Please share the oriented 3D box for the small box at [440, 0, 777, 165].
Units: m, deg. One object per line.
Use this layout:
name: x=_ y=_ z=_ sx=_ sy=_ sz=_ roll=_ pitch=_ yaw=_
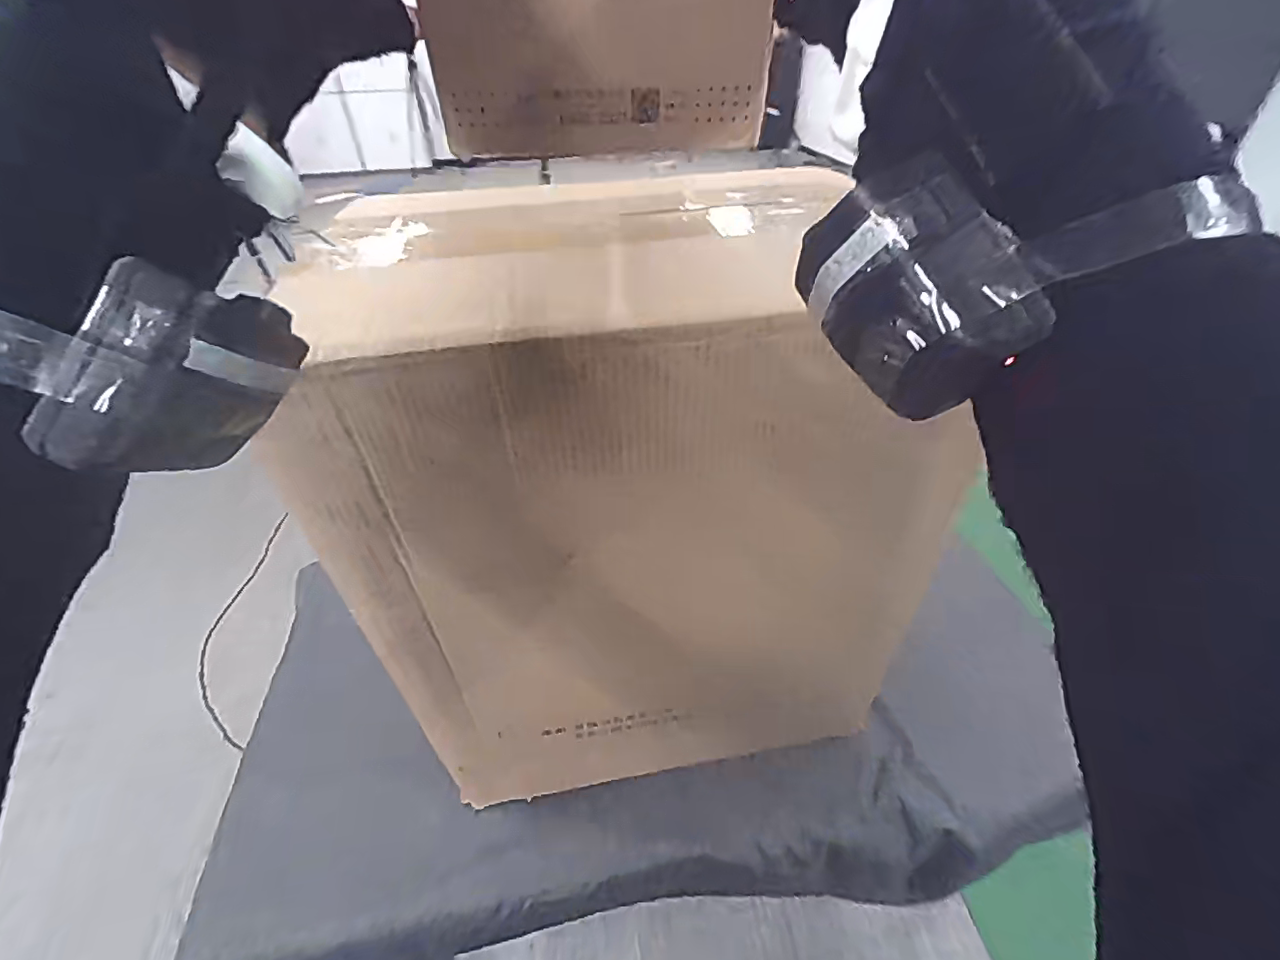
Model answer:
small box: x=-0.019 y=-0.291 z=0.305 sx=0.168 sy=0.176 sz=0.179 roll=-2 pitch=41 yaw=-1
